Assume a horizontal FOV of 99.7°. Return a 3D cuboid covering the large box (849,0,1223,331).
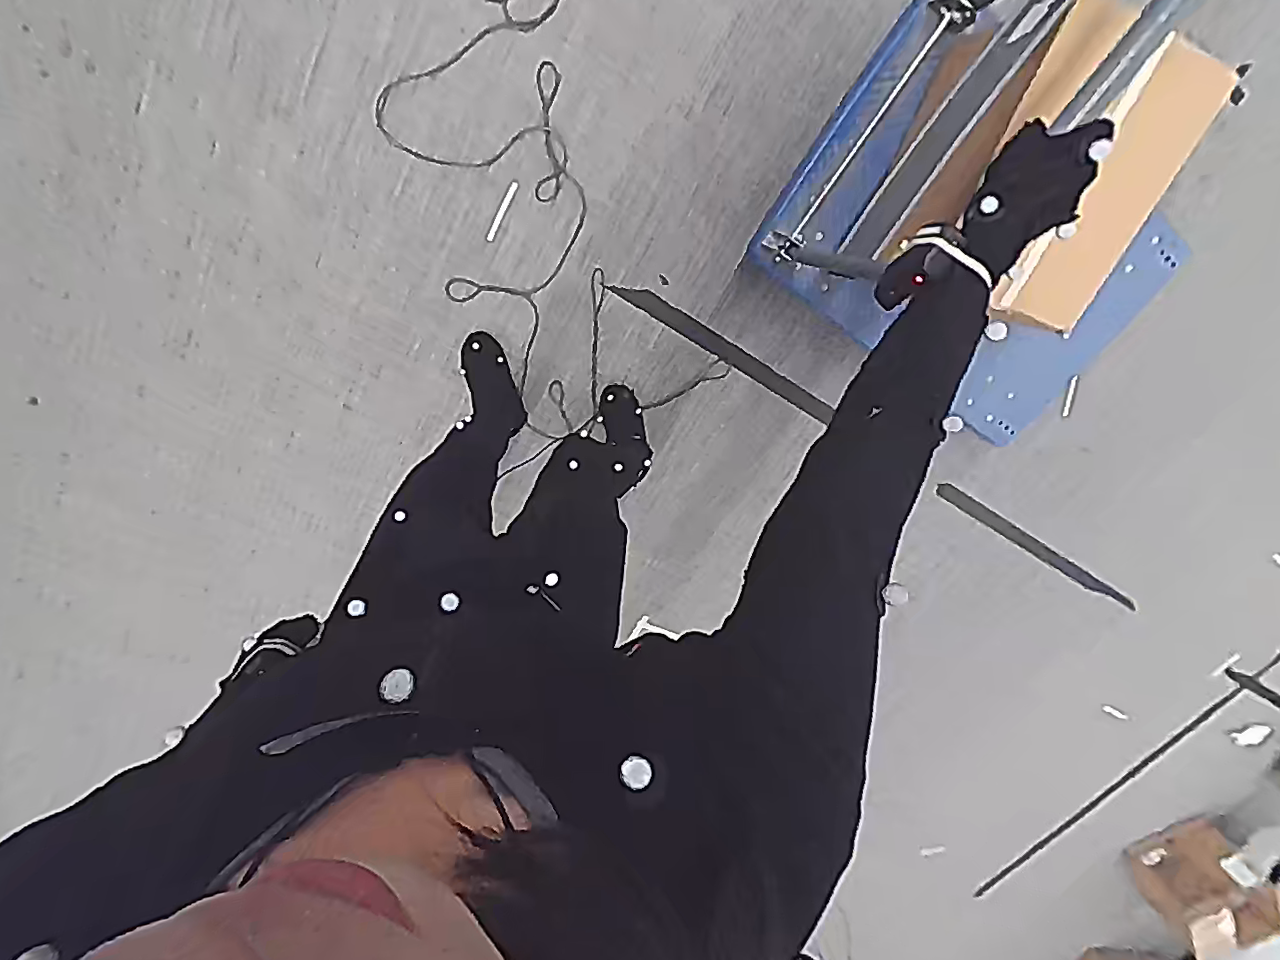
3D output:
[{"bbox_3d":[0.664,-0.543,0.989,0.320,0.320,0.408,15,115,-13],"label":"large box"}]
